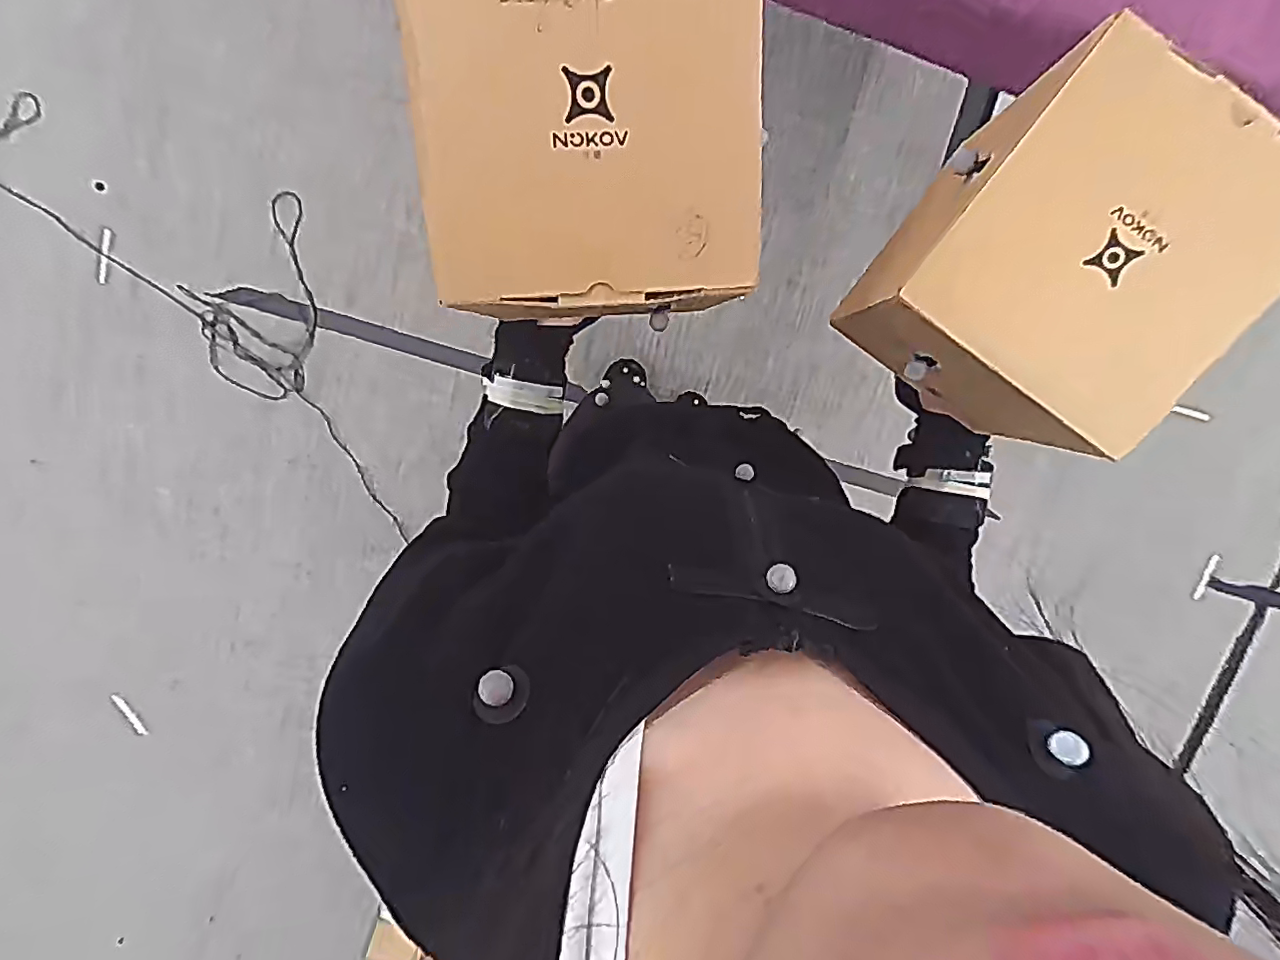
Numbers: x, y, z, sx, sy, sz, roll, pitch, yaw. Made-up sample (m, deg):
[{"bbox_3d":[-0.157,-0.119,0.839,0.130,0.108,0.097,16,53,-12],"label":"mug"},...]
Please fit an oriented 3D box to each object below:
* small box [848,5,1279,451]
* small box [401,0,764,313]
[{"bbox_3d":[0.270,-0.144,0.374,0.168,0.176,0.179,36,102,-2],"label":"small box"},{"bbox_3d":[-0.027,-0.197,0.331,0.168,0.176,0.179,-4,104,-3],"label":"small box"}]
